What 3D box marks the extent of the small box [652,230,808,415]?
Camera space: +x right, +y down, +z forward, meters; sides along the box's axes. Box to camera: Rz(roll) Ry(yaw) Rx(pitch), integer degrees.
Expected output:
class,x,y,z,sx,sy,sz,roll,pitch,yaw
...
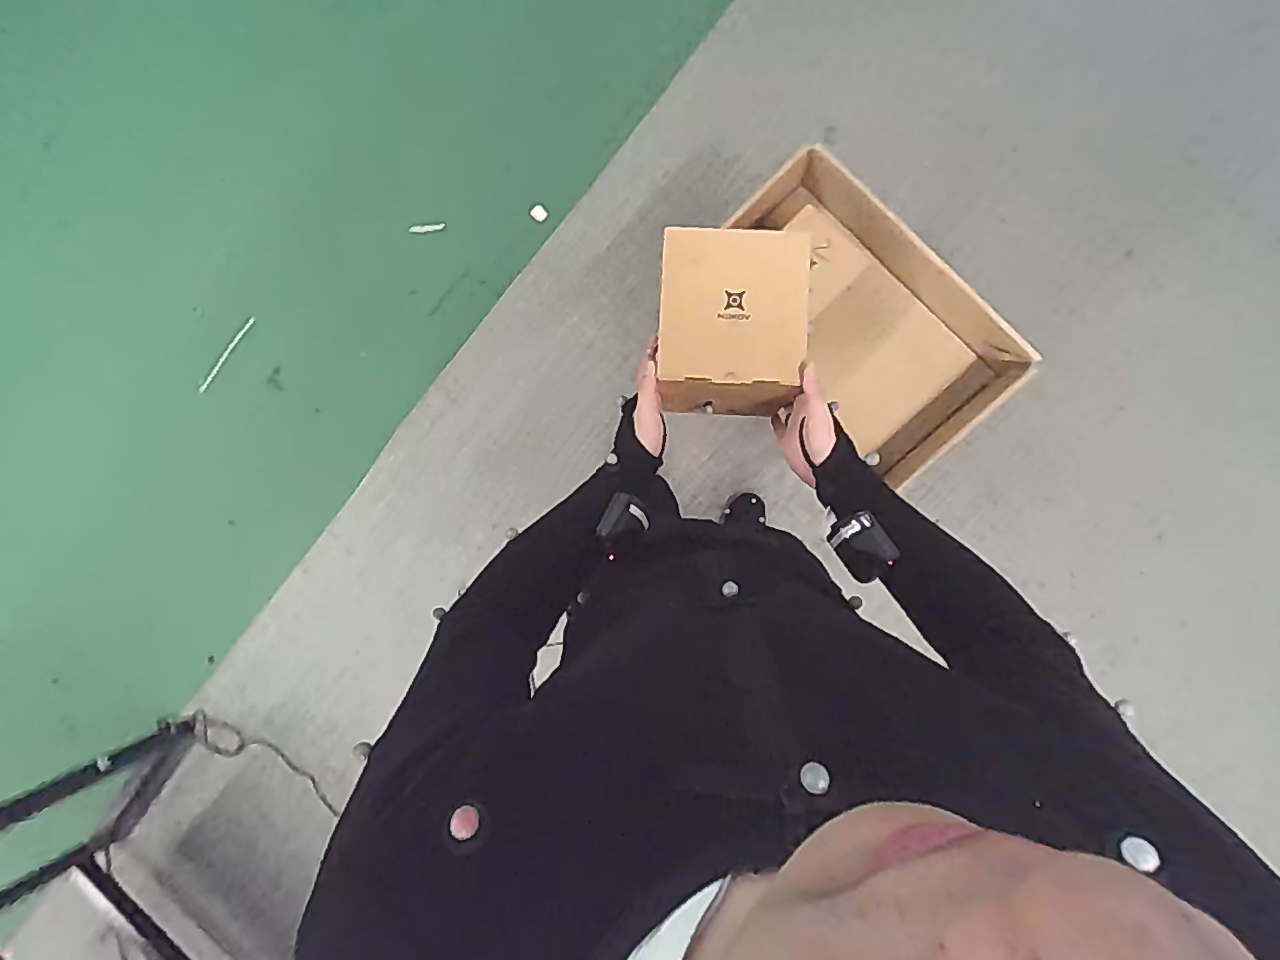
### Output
class,x,y,z,sx,sy,sz,roll,pitch,yaw
small box,0.102,-0.185,0.680,0.168,0.176,0.179,2,88,0
